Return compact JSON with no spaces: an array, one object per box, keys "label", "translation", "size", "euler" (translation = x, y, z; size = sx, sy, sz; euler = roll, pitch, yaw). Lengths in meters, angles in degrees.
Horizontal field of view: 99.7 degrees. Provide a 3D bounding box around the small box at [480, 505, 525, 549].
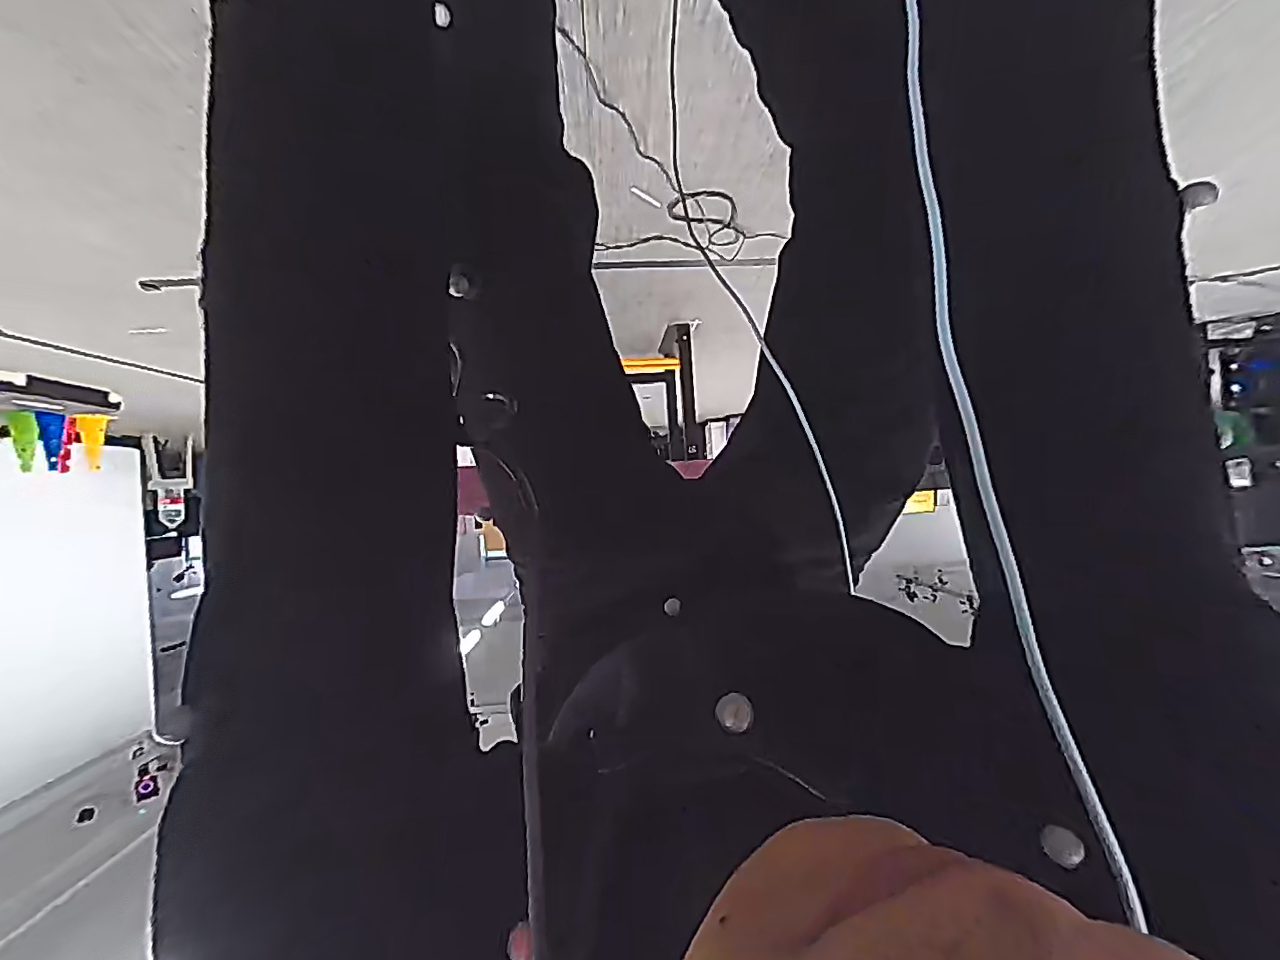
[{"label":"small box","translation":[-0.602,0.202,2.377],"size":[0.168,0.176,0.179],"euler":[-4,180,-4]}]
